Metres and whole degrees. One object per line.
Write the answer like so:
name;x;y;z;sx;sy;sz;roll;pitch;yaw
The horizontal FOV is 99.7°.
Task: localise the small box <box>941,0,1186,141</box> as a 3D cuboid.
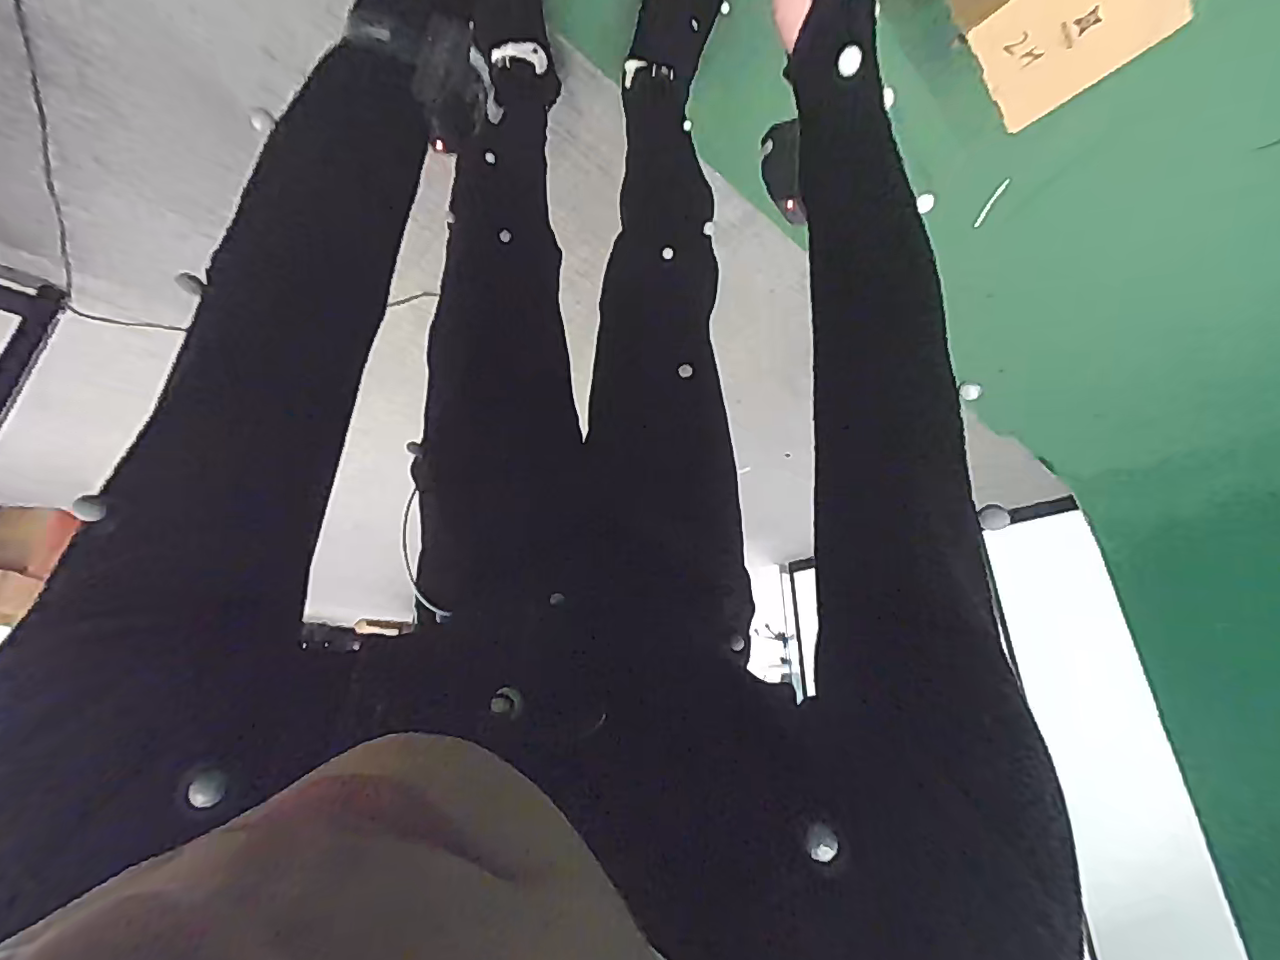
small box;0.473;-0.558;0.623;0.168;0.176;0.179;21;148;-39
